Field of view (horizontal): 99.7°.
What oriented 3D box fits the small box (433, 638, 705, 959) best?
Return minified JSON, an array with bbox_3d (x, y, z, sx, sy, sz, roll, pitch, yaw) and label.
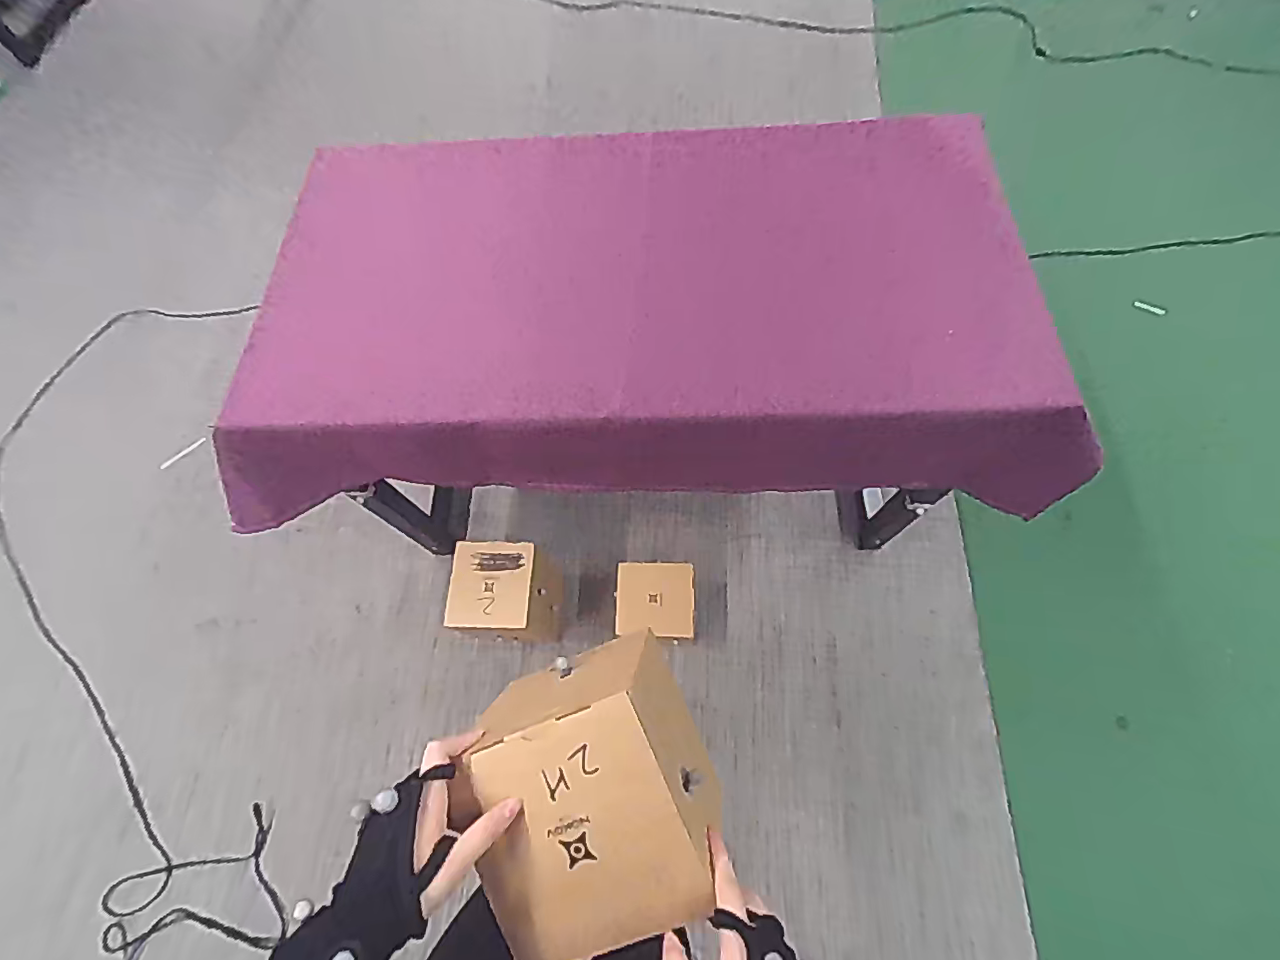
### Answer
[{"bbox_3d":[-0.046,0.272,0.491,0.168,0.176,0.179,-24,87,7],"label":"small box"}]
